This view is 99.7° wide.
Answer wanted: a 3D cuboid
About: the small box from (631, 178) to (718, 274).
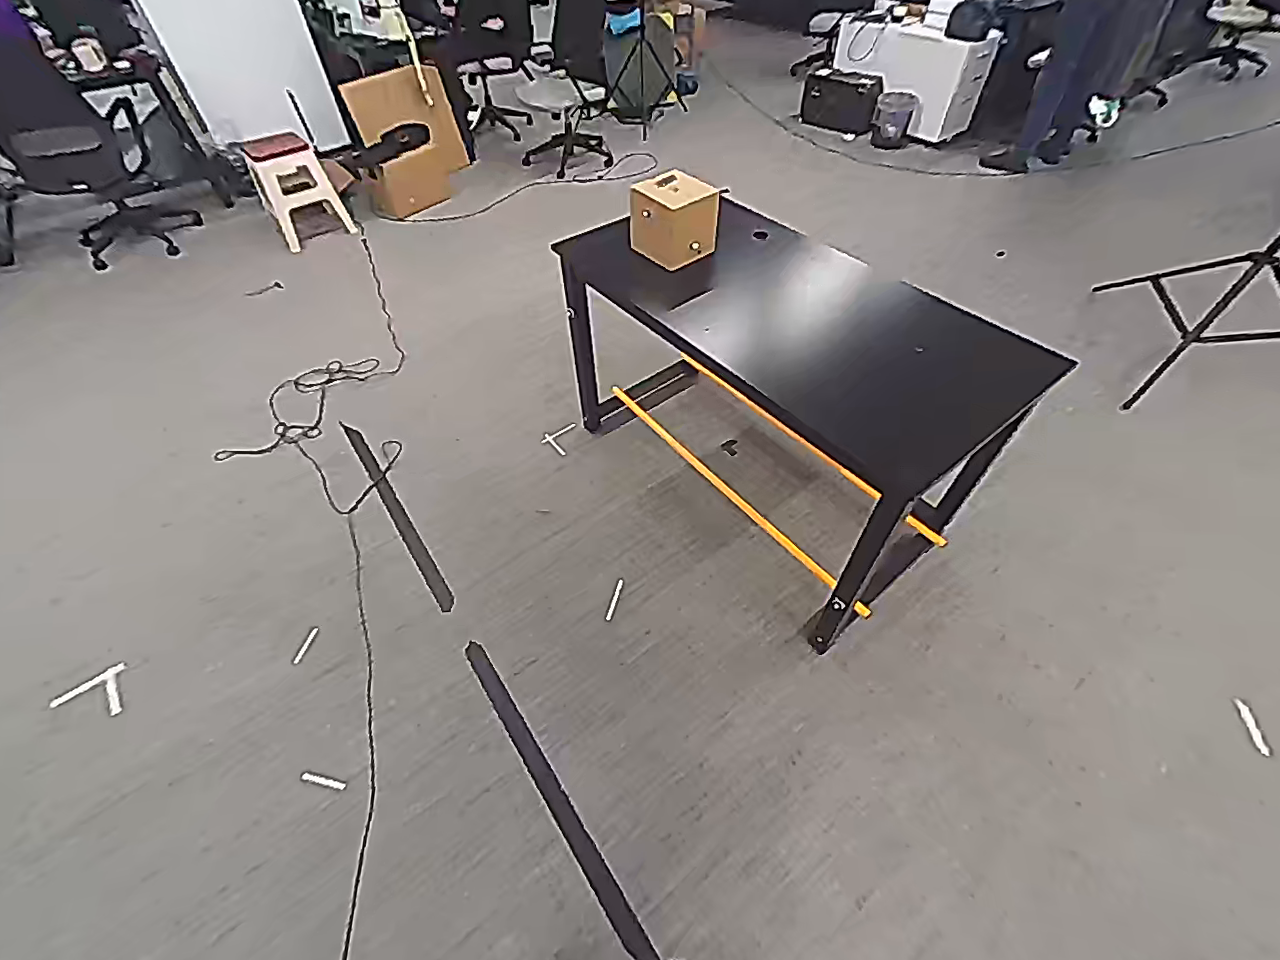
[{"bbox_3d":[0.089,-0.695,1.484,0.168,0.176,0.179,-33,57,-24],"label":"small box"}]
